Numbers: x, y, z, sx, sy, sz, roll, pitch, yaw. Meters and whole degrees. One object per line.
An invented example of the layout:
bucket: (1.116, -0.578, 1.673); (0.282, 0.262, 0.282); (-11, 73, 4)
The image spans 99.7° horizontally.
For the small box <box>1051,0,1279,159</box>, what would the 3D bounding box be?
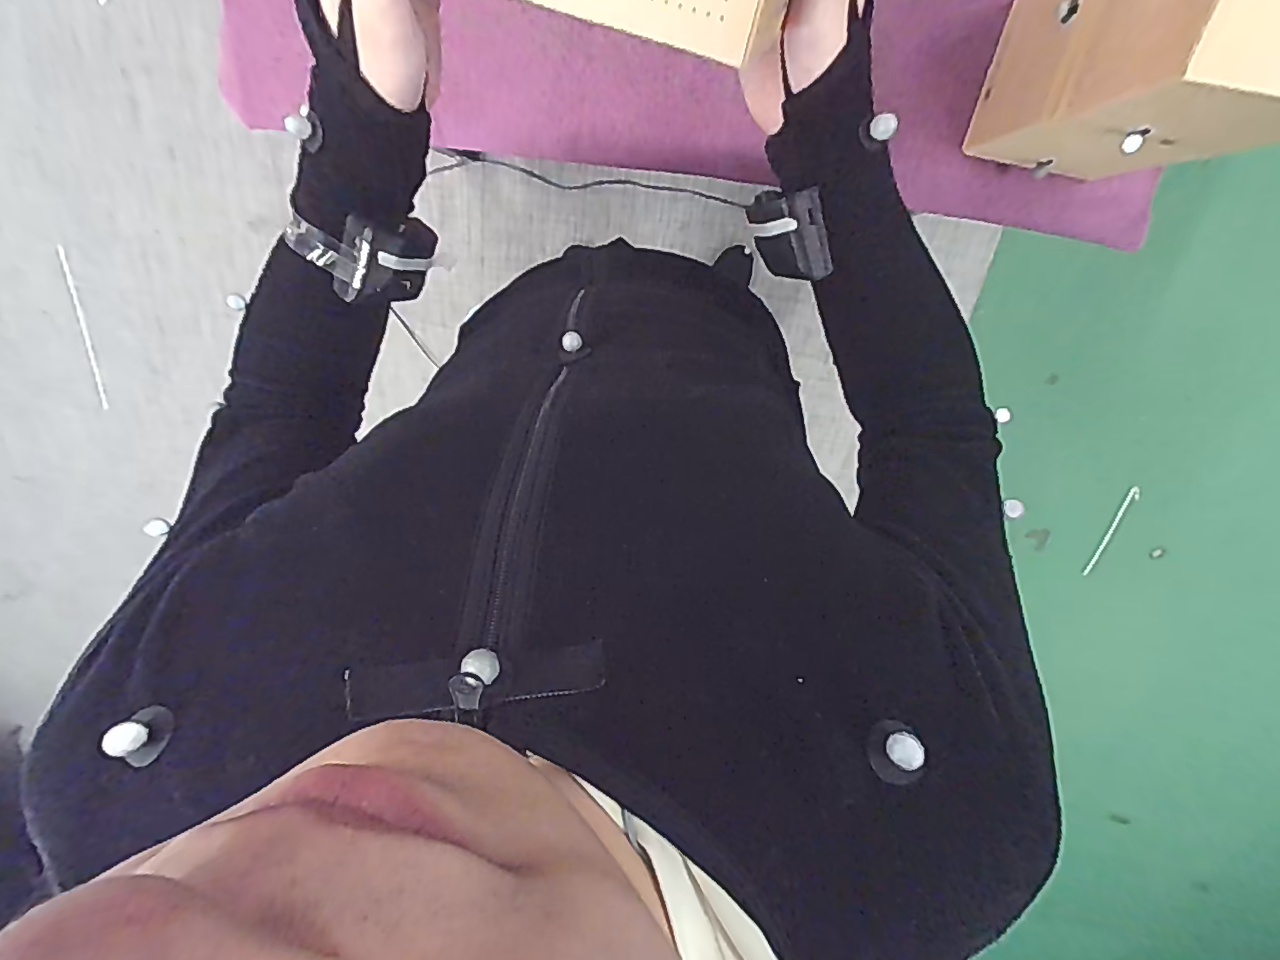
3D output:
small box: (0.497, -0.391, 0.447); (0.168, 0.176, 0.179); (12, 113, 0)

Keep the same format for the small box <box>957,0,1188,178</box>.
small box: (0.502, -0.449, 0.599); (0.179, 0.176, 0.168); (11, 112, -2)
